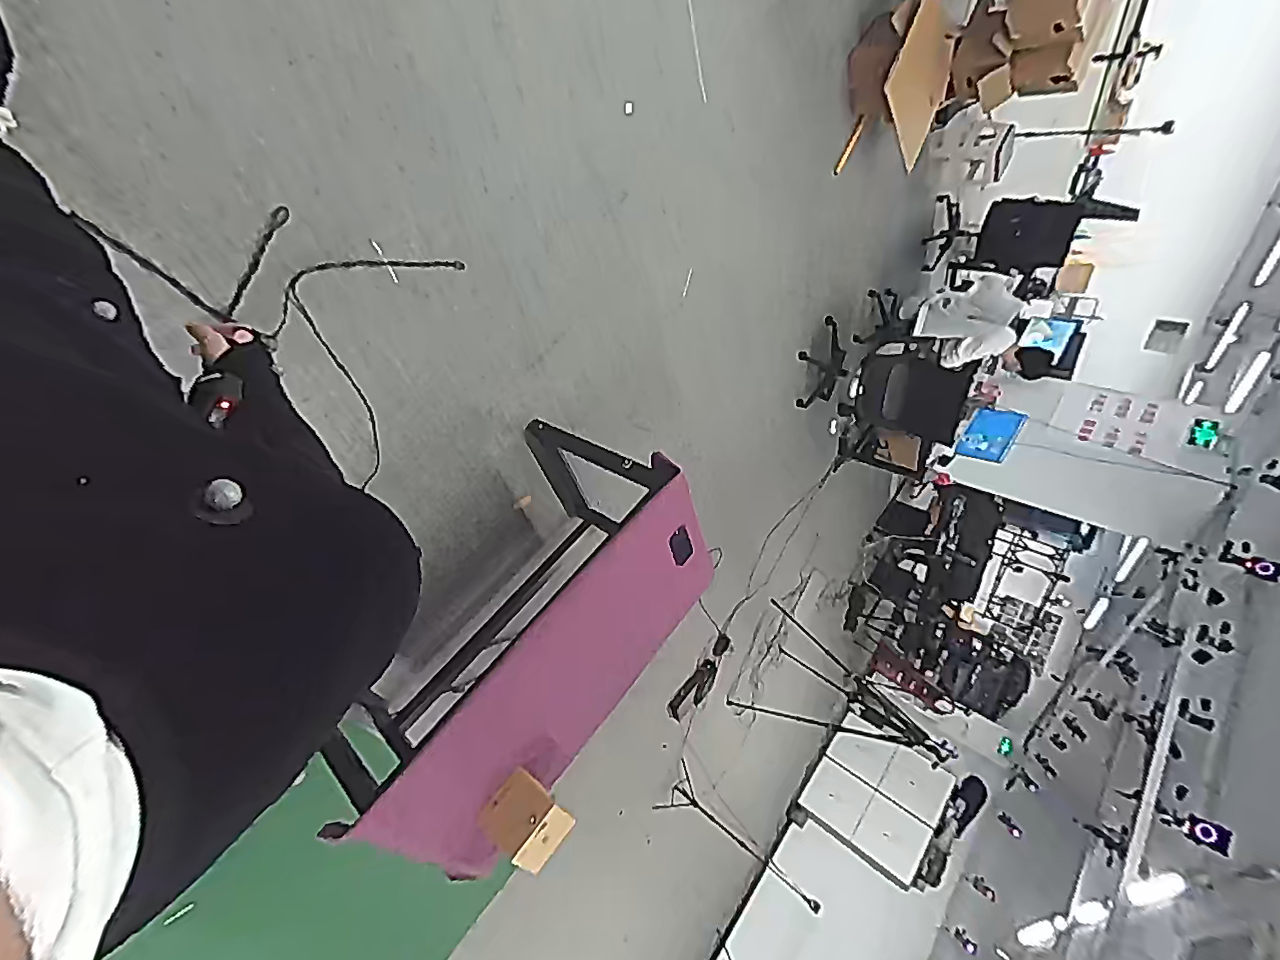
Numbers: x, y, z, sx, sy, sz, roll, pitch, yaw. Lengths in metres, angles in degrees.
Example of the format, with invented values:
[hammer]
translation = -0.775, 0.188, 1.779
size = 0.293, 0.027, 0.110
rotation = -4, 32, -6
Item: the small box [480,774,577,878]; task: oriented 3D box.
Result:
[small box]
translation = -0.310, 0.964, 1.513
size = 0.168, 0.176, 0.179
rotation = -47, 140, -26
